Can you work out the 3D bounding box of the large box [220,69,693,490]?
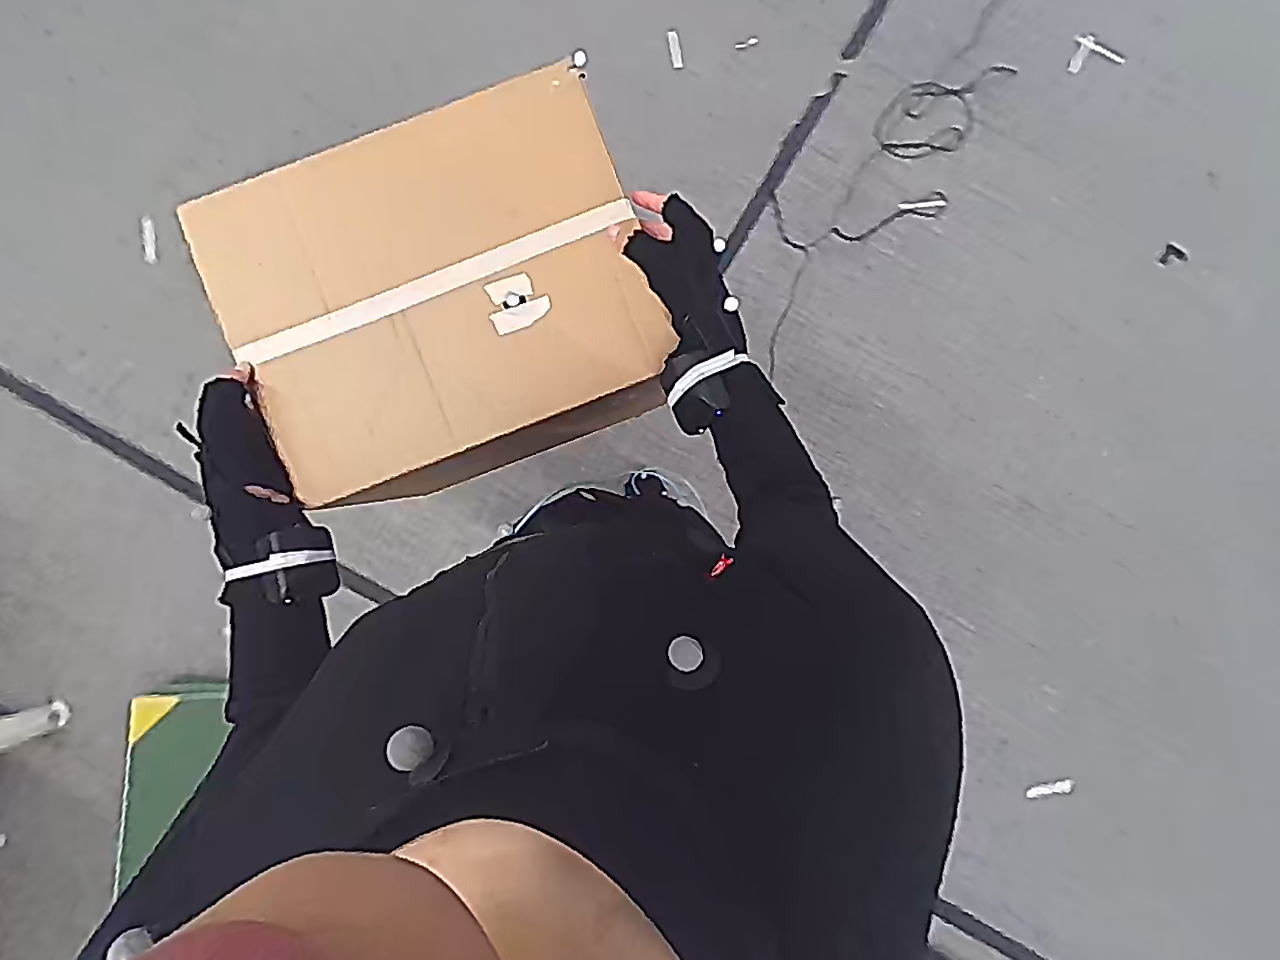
[{"bbox_3d":[-0.185,-0.200,0.686,0.408,0.320,0.320,-20,92,-1],"label":"large box"}]
